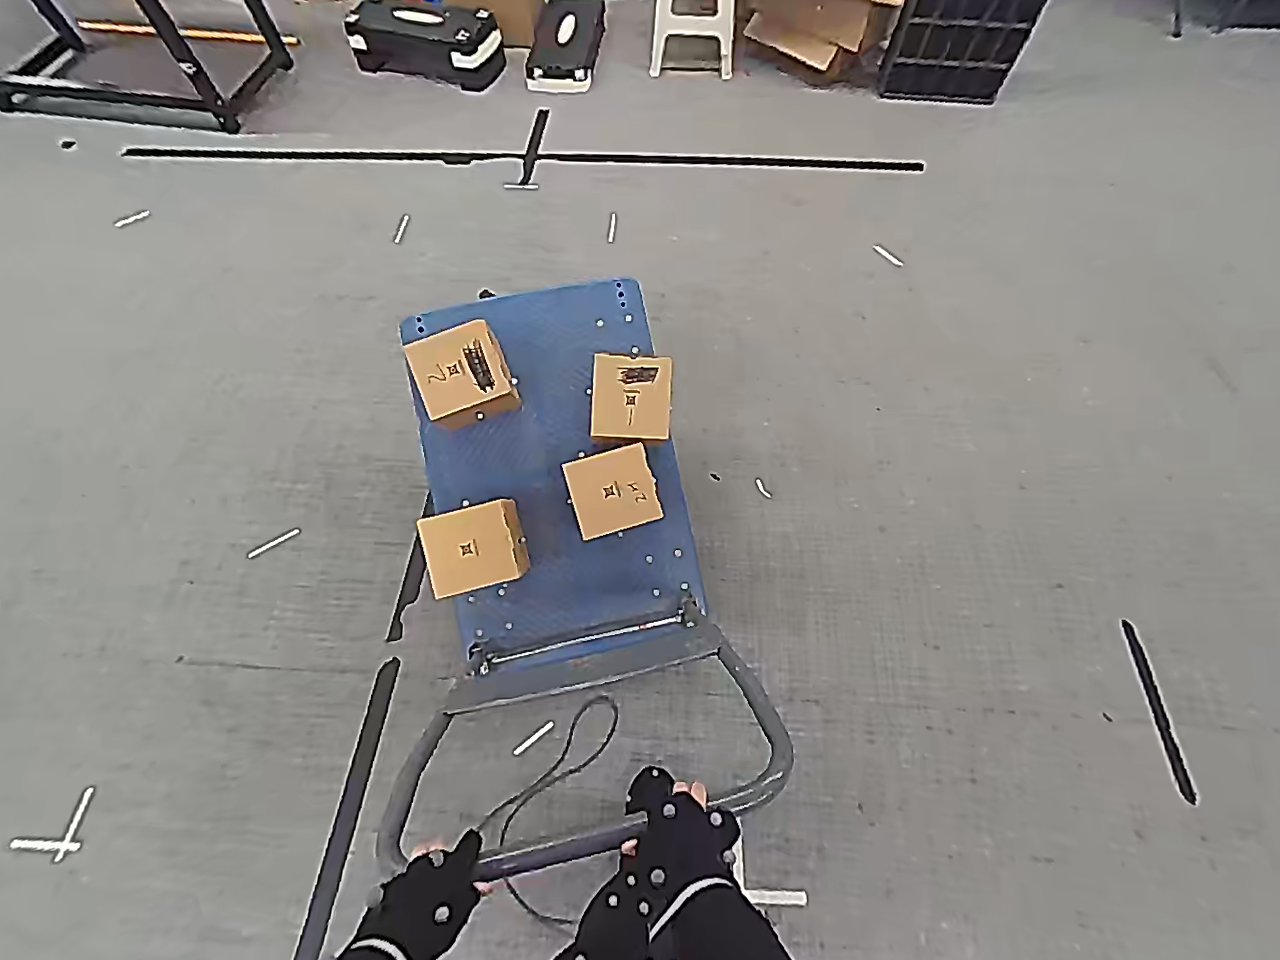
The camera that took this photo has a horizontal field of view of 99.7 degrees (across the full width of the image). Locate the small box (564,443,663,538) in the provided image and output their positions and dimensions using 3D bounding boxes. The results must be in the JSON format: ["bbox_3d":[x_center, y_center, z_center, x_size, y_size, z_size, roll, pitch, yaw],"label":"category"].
[{"bbox_3d":[-0.058,0.025,1.197,0.179,0.176,0.168,-16,89,-4],"label":"small box"}]

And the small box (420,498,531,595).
[{"bbox_3d":[-0.348,0.140,1.173,0.179,0.176,0.168,-14,88,-6],"label":"small box"}]

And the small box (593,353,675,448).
[{"bbox_3d":[-0.018,-0.171,1.208,0.168,0.176,0.179,3,88,-3],"label":"small box"}]
